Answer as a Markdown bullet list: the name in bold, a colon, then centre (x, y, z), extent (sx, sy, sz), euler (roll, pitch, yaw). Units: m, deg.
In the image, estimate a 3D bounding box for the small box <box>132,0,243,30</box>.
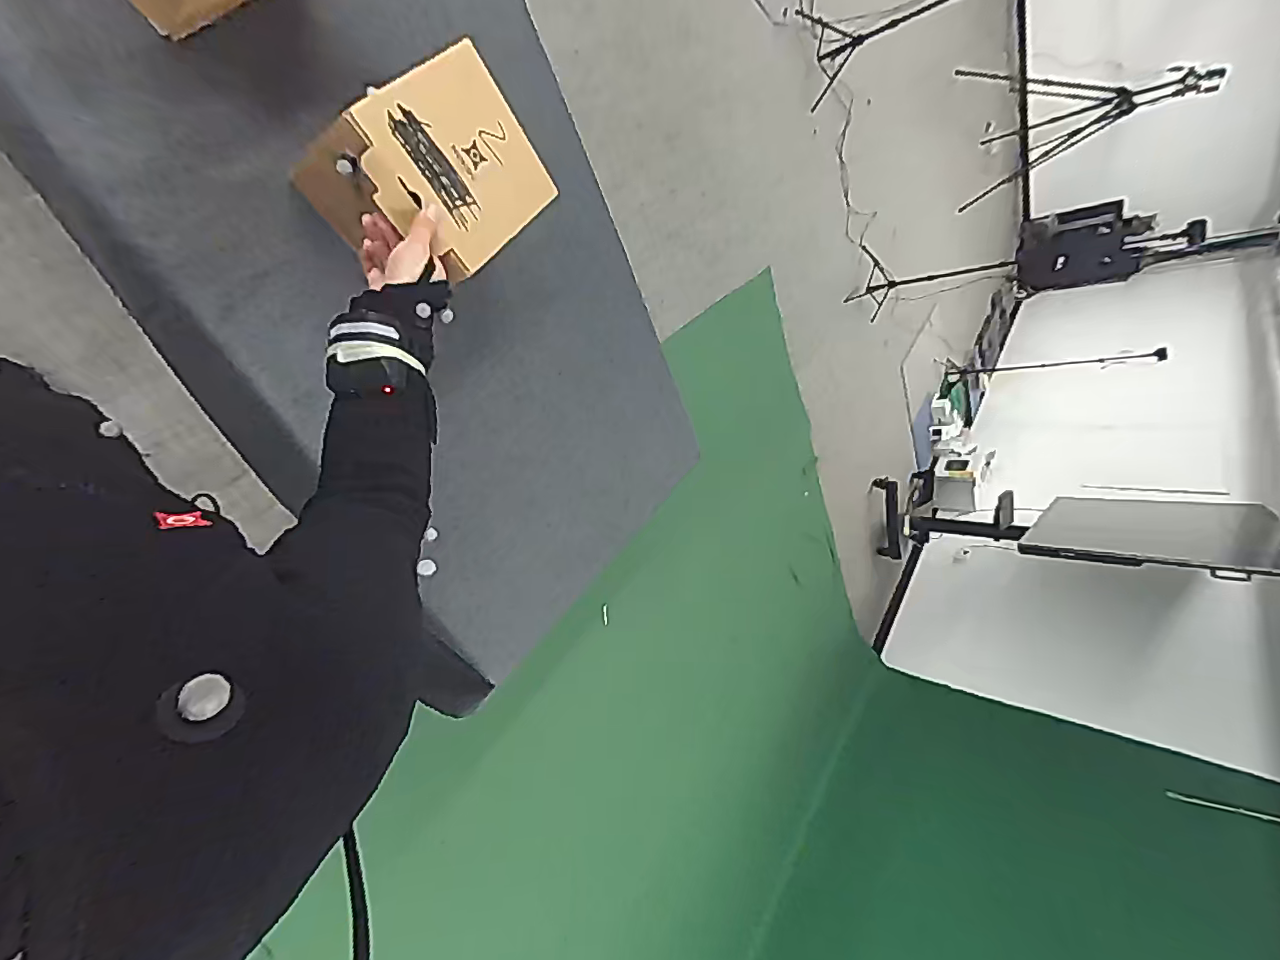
- **small box**: centre (-0.375, -0.519, 0.433), extent (0.168, 0.176, 0.179), euler (52, 58, -38)
